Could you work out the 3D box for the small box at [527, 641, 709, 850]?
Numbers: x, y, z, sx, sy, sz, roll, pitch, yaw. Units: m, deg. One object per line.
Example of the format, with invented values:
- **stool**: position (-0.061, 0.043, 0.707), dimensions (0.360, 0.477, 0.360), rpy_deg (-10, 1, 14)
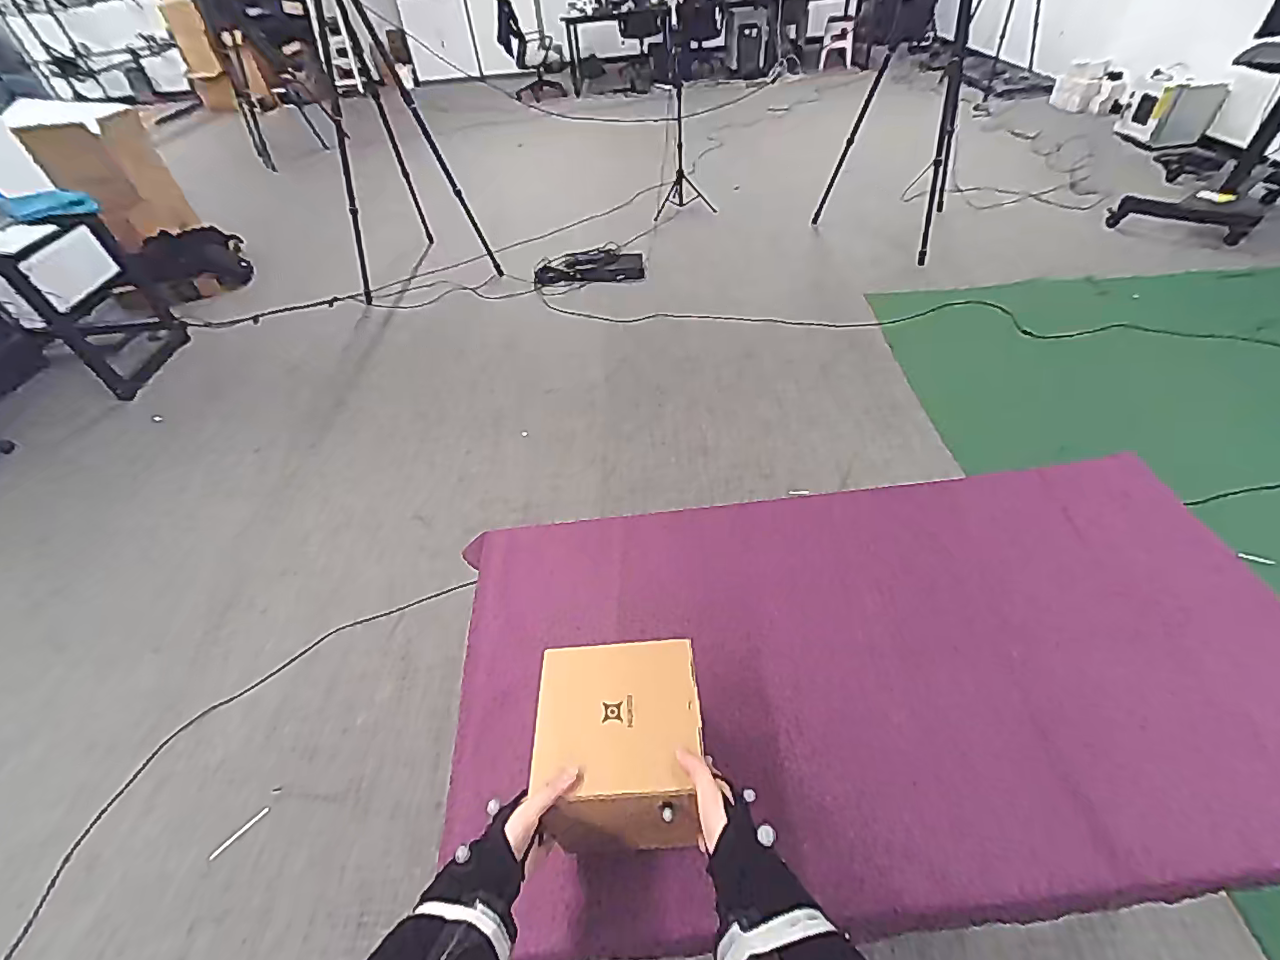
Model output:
- **small box**: position (-0.017, 0.312, 0.632), dimensions (0.179, 0.176, 0.168), rpy_deg (-5, 40, 3)
